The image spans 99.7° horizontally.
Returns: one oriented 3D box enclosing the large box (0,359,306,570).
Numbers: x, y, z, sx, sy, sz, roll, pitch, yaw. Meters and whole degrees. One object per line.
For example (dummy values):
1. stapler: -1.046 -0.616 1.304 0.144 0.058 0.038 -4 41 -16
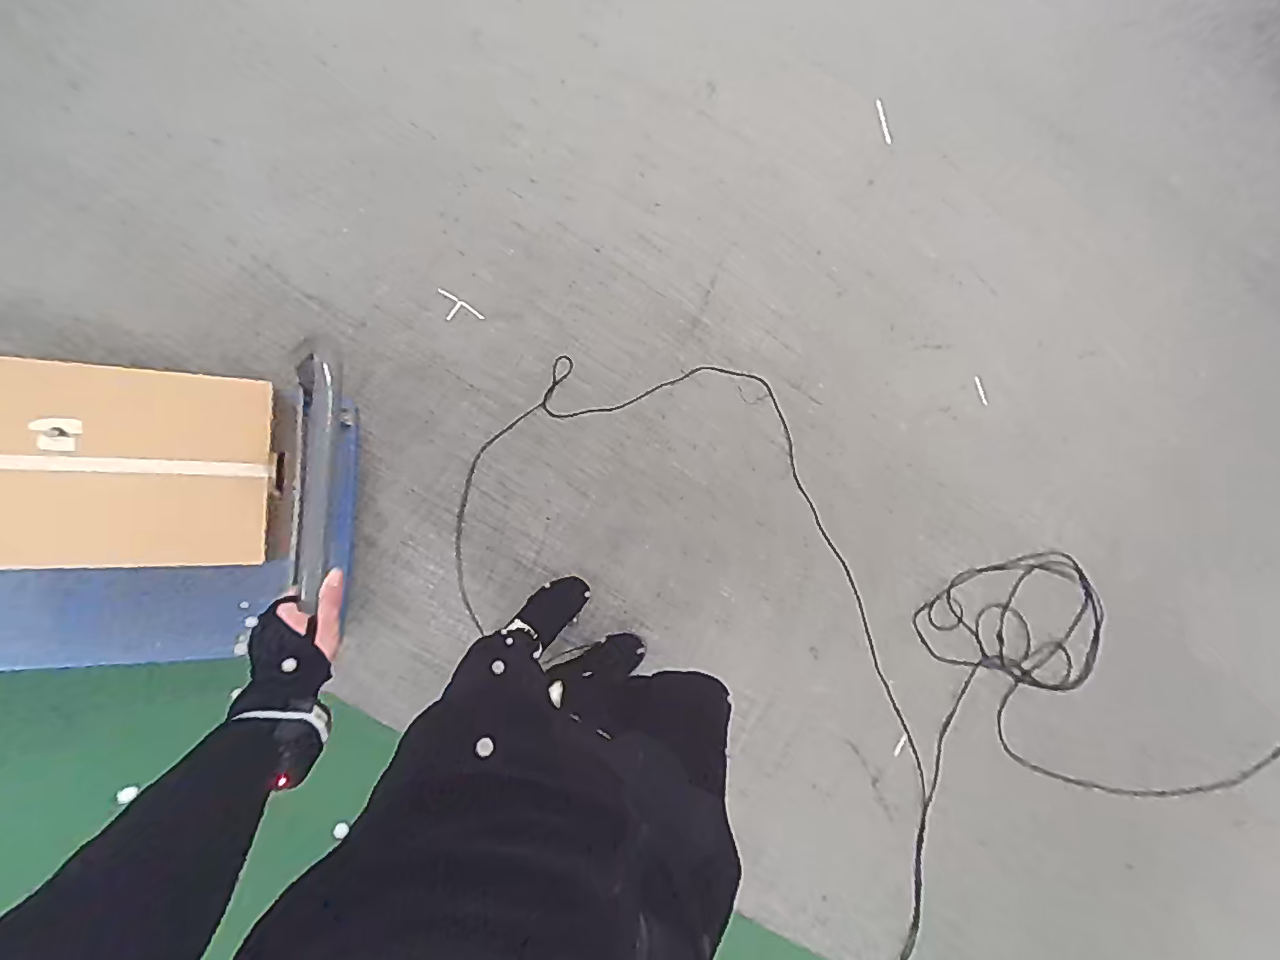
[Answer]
1. large box: -0.857 -0.017 0.972 0.408 0.320 0.320 2 86 -23
